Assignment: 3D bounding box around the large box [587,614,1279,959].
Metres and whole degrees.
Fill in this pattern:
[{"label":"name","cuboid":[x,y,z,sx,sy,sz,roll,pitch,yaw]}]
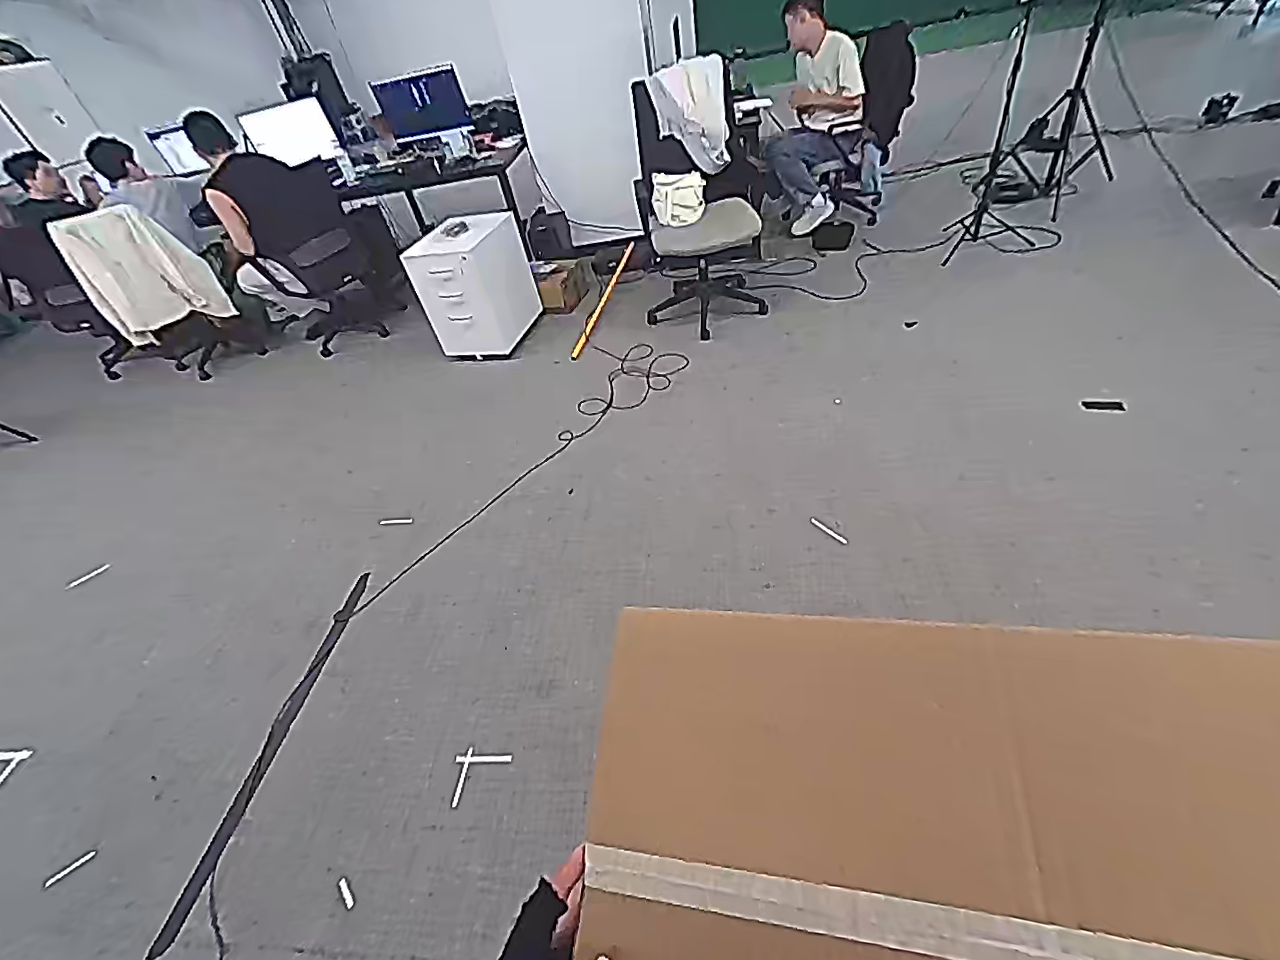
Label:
[{"label":"large box","cuboid":[0.202,0.302,0.400,0.408,0.320,0.320,-1,61,17]}]
